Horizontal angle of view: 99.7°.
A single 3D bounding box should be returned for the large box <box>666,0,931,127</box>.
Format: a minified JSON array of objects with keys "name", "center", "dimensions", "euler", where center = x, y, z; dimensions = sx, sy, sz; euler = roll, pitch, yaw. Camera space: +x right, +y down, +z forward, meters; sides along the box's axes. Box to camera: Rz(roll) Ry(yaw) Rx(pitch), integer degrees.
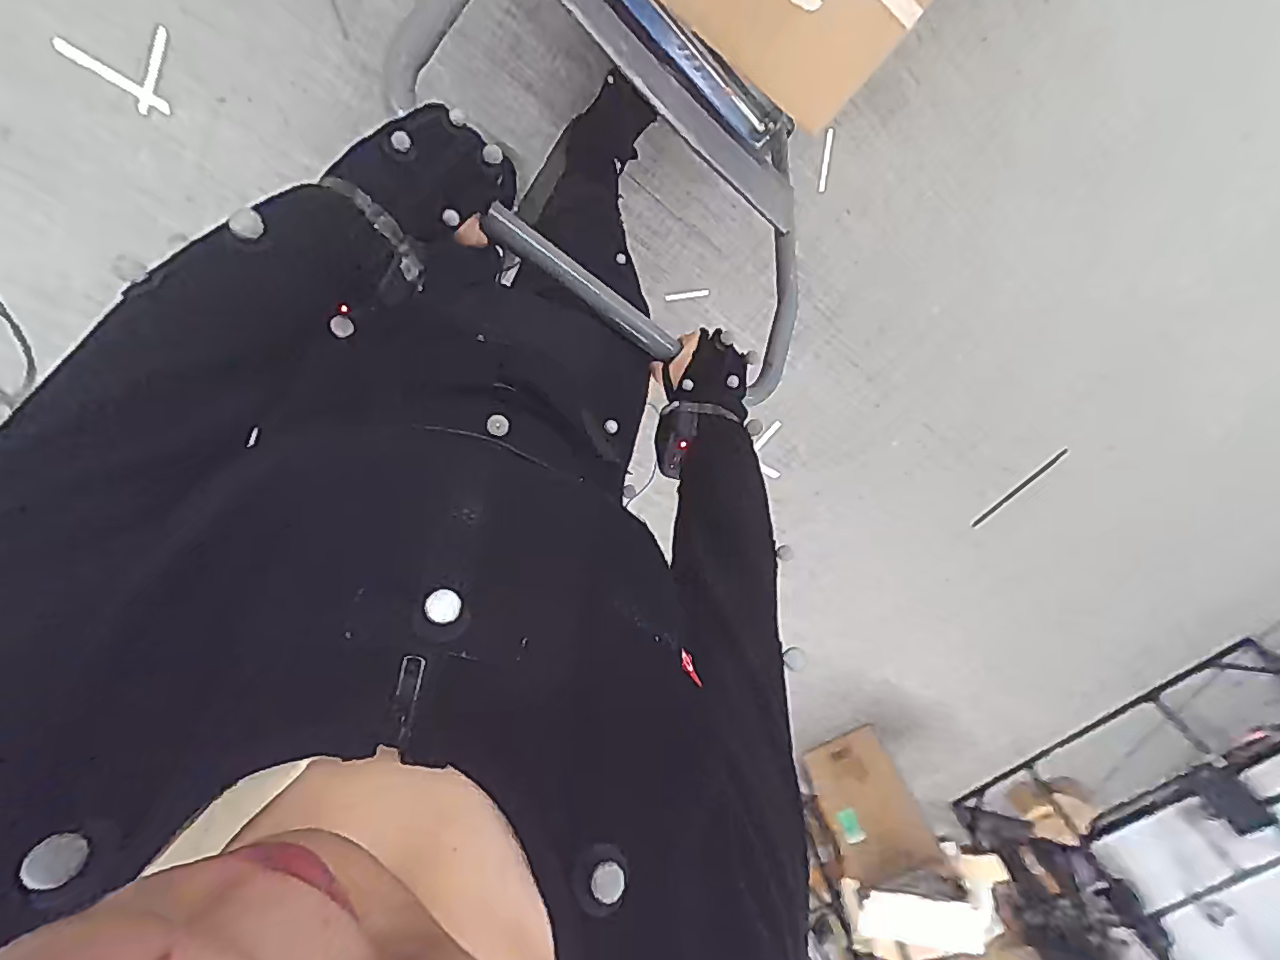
[{"name":"large box","center":[0.170,-0.740,0.637],"dimensions":[0.408,0.320,0.320],"euler":[23,143,-25]}]
